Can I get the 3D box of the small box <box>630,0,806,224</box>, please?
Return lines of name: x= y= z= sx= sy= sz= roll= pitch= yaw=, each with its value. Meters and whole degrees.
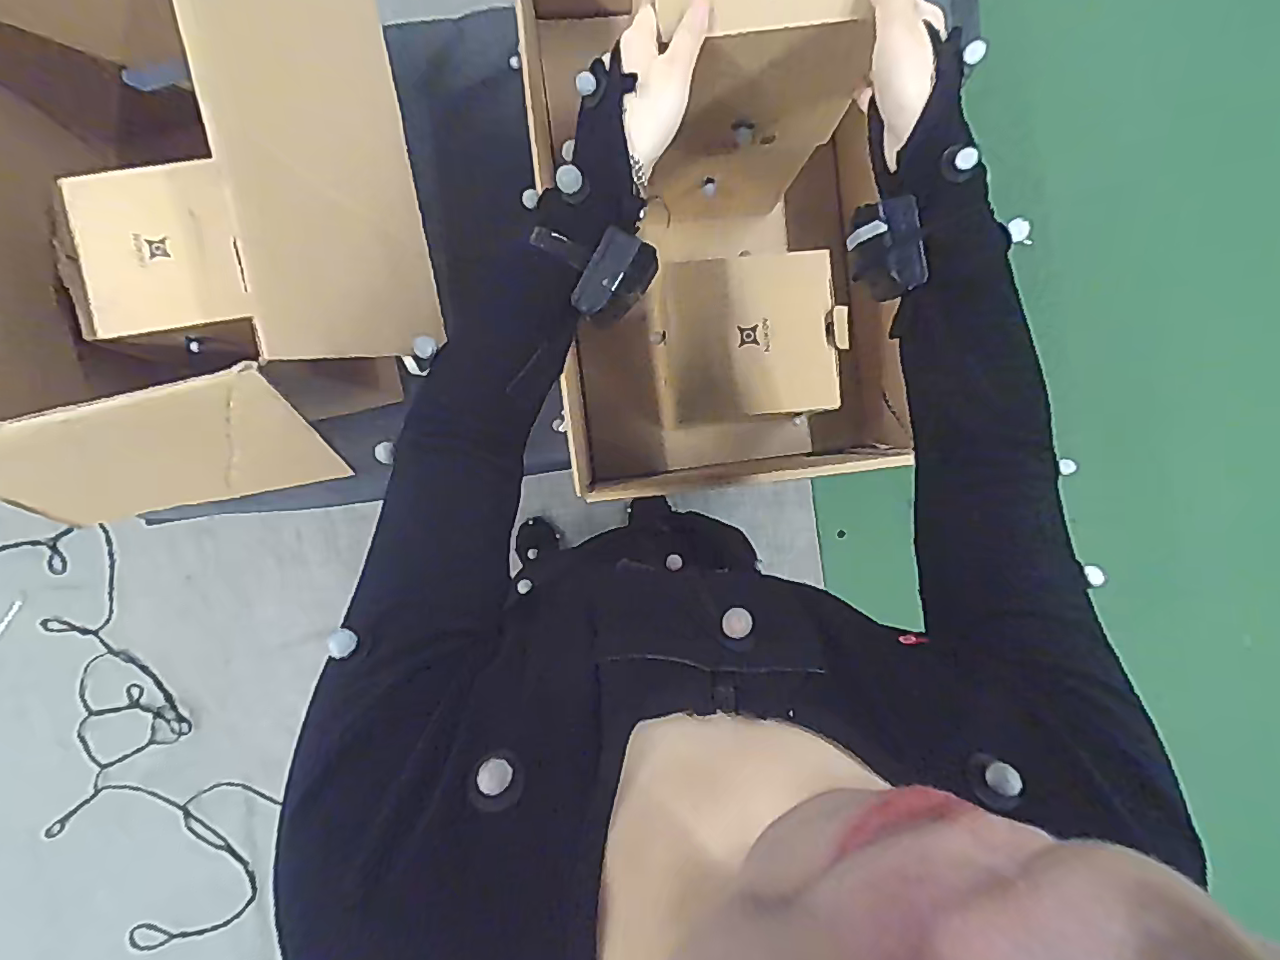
small box: x=0.084 y=-0.415 z=0.625 sx=0.179 sy=0.176 sz=0.168 roll=-6 pitch=95 yaw=-1

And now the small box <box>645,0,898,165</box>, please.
small box: x=0.089 y=-0.393 z=0.440 sx=0.168 sy=0.176 sz=0.179 roll=-5 pitch=95 yaw=3
